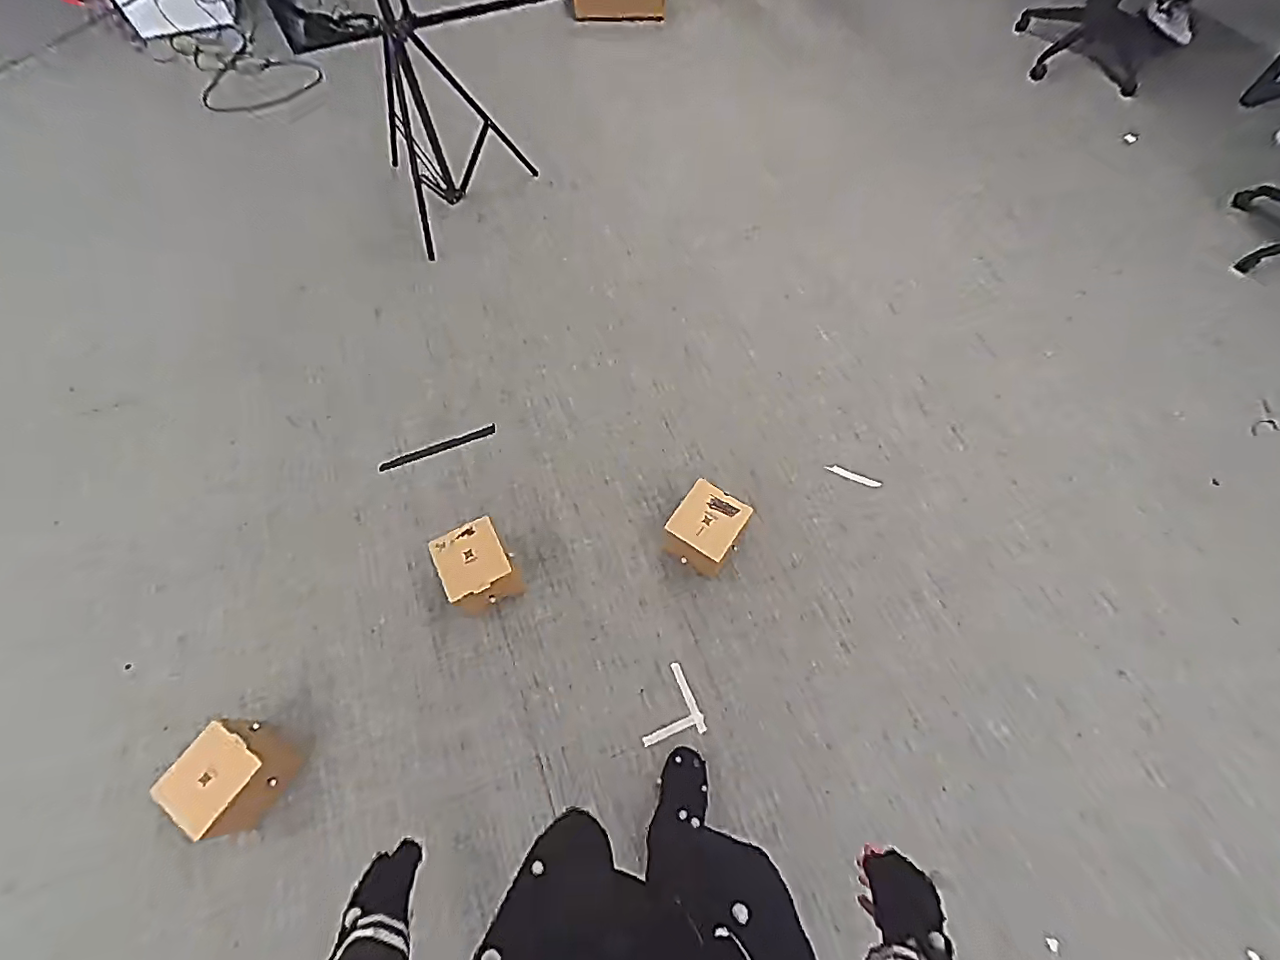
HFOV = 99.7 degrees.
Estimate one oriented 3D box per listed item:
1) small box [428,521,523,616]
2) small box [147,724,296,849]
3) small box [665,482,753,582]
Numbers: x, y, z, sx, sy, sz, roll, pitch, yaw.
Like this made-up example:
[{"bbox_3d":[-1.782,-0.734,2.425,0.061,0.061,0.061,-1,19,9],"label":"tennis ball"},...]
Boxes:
[{"bbox_3d":[-0.421,0.238,1.408,0.168,0.176,0.179,-26,67,-11],"label":"small box"},{"bbox_3d":[-0.913,0.673,1.207,0.168,0.176,0.179,29,69,16],"label":"small box"},{"bbox_3d":[0.177,0.144,1.442,0.168,0.176,0.179,32,70,16],"label":"small box"}]
